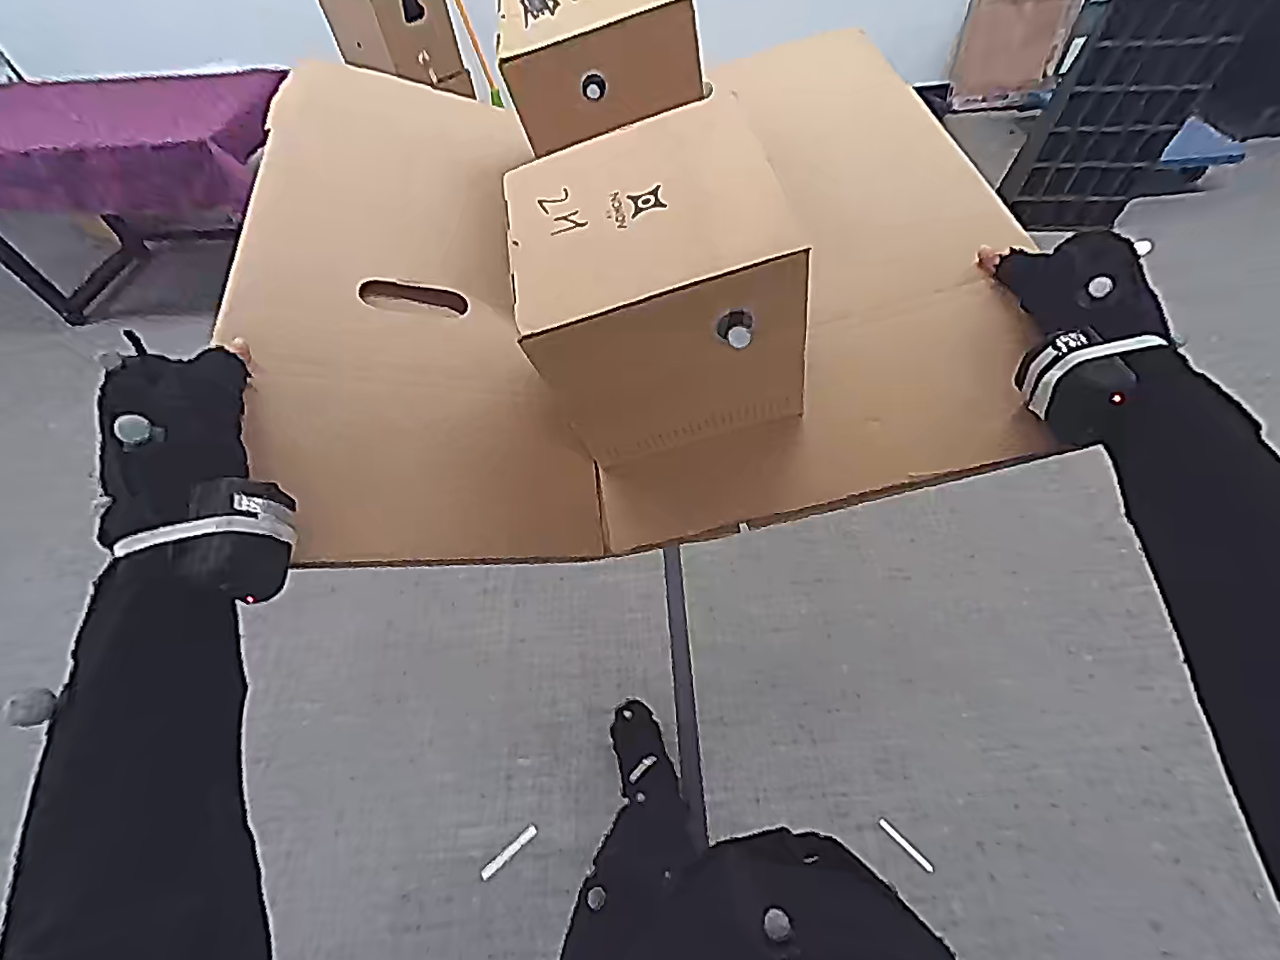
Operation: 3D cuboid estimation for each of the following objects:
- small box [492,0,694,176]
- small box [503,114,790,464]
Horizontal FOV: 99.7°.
[{"bbox_3d":[-0.040,-0.408,0.580,0.179,0.176,0.168,-13,62,8],"label":"small box"},{"bbox_3d":[0.011,-0.135,0.429,0.179,0.176,0.168,-15,61,9],"label":"small box"}]
